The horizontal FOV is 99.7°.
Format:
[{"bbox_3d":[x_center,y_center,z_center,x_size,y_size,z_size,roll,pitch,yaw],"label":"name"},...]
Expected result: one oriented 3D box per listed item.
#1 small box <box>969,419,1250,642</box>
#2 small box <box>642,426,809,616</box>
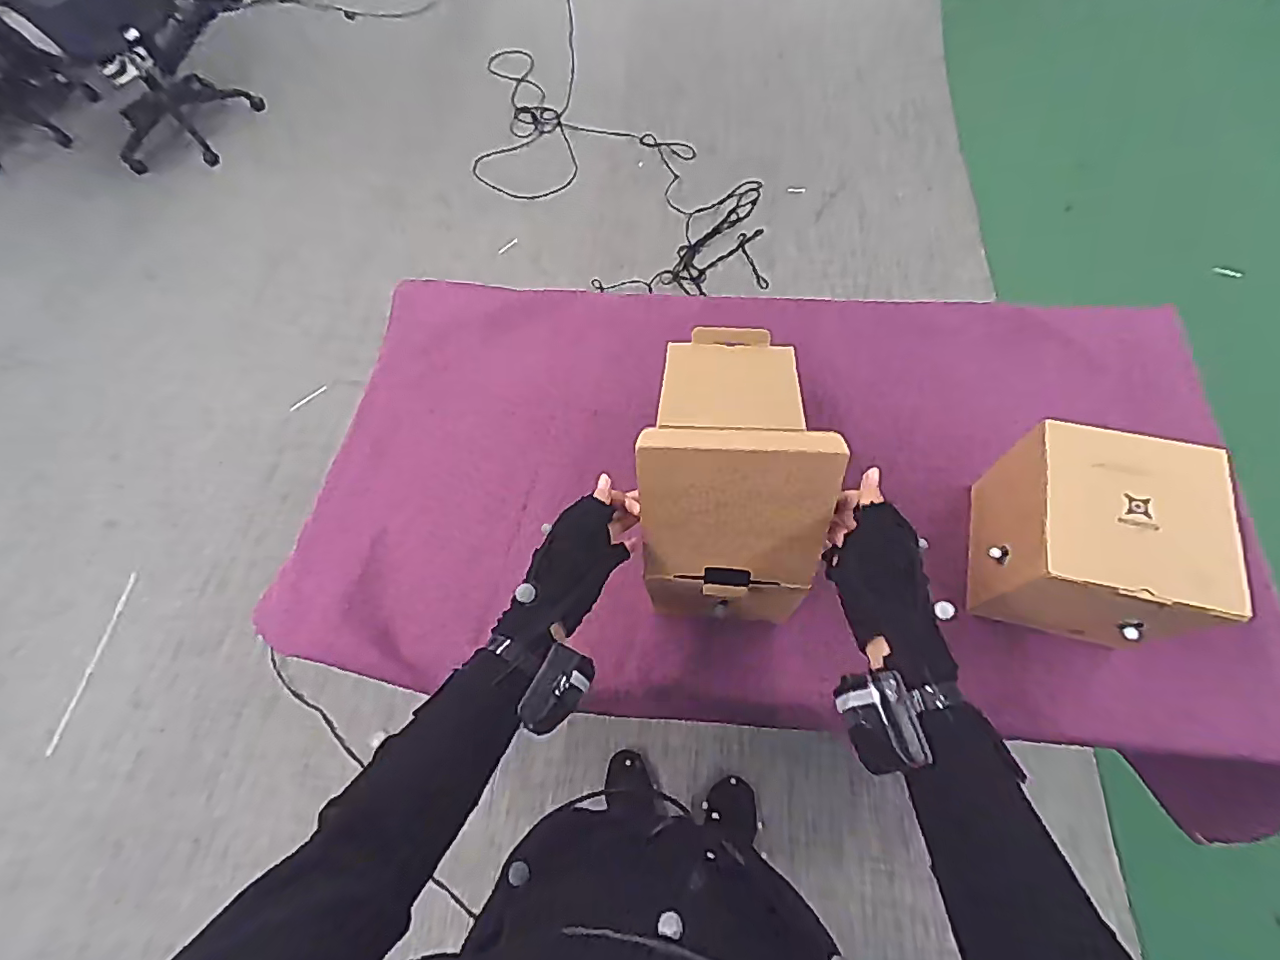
[{"bbox_3d":[0.483,0.063,0.588,0.168,0.176,0.179,13,67,12],"label":"small box"},{"bbox_3d":[0.099,0.055,0.632,0.168,0.176,0.179,3,65,7],"label":"small box"}]
